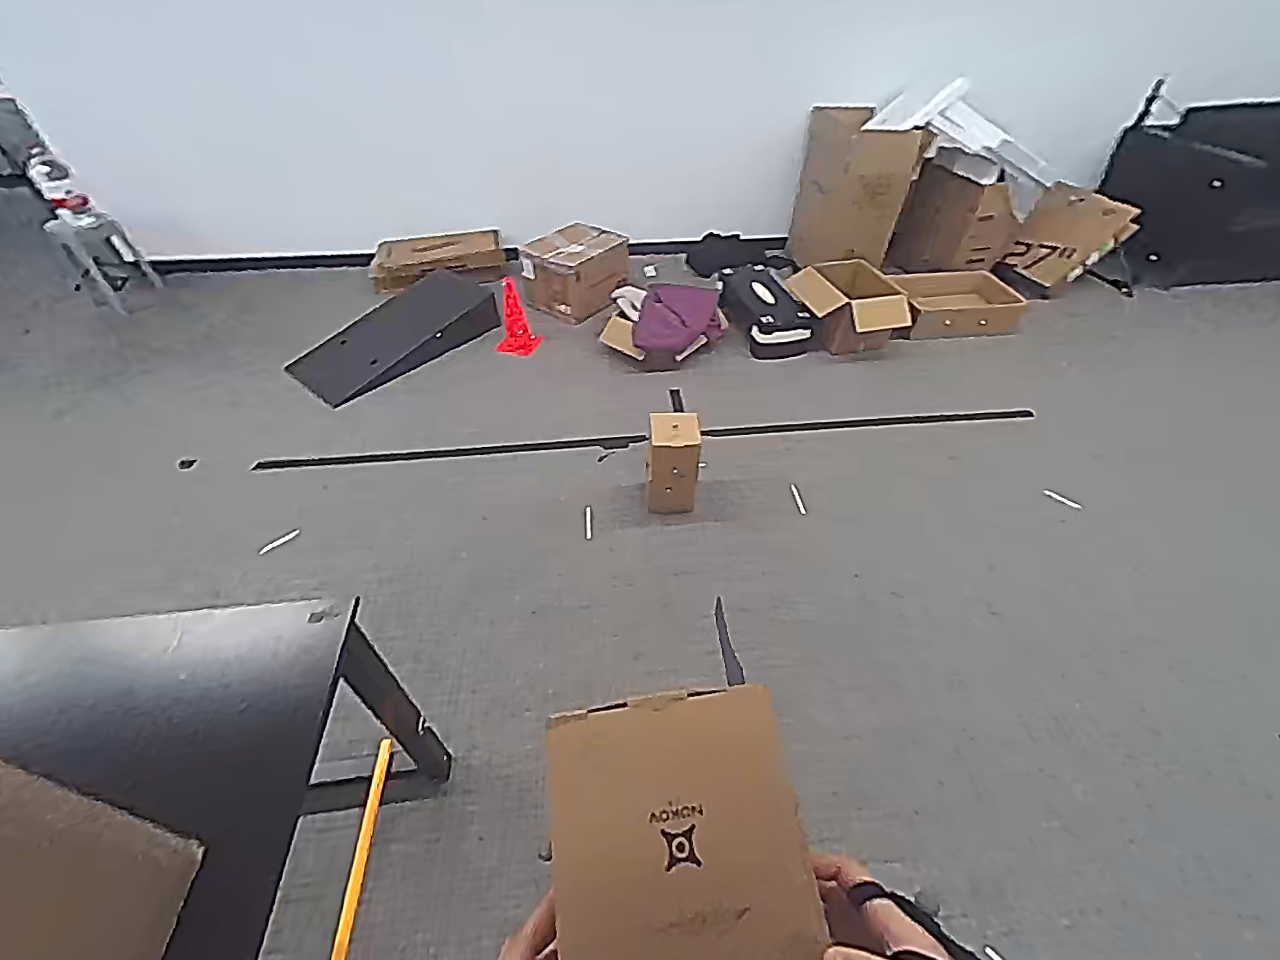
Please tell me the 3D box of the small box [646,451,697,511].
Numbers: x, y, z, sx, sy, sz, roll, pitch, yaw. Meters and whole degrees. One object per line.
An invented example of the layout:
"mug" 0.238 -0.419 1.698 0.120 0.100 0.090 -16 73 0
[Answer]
"small box" 0.112 0.004 2.011 0.179 0.176 0.168 -1 45 -2

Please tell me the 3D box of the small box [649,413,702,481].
"small box" 0.119 -0.117 1.898 0.168 0.176 0.179 -1 45 -2
